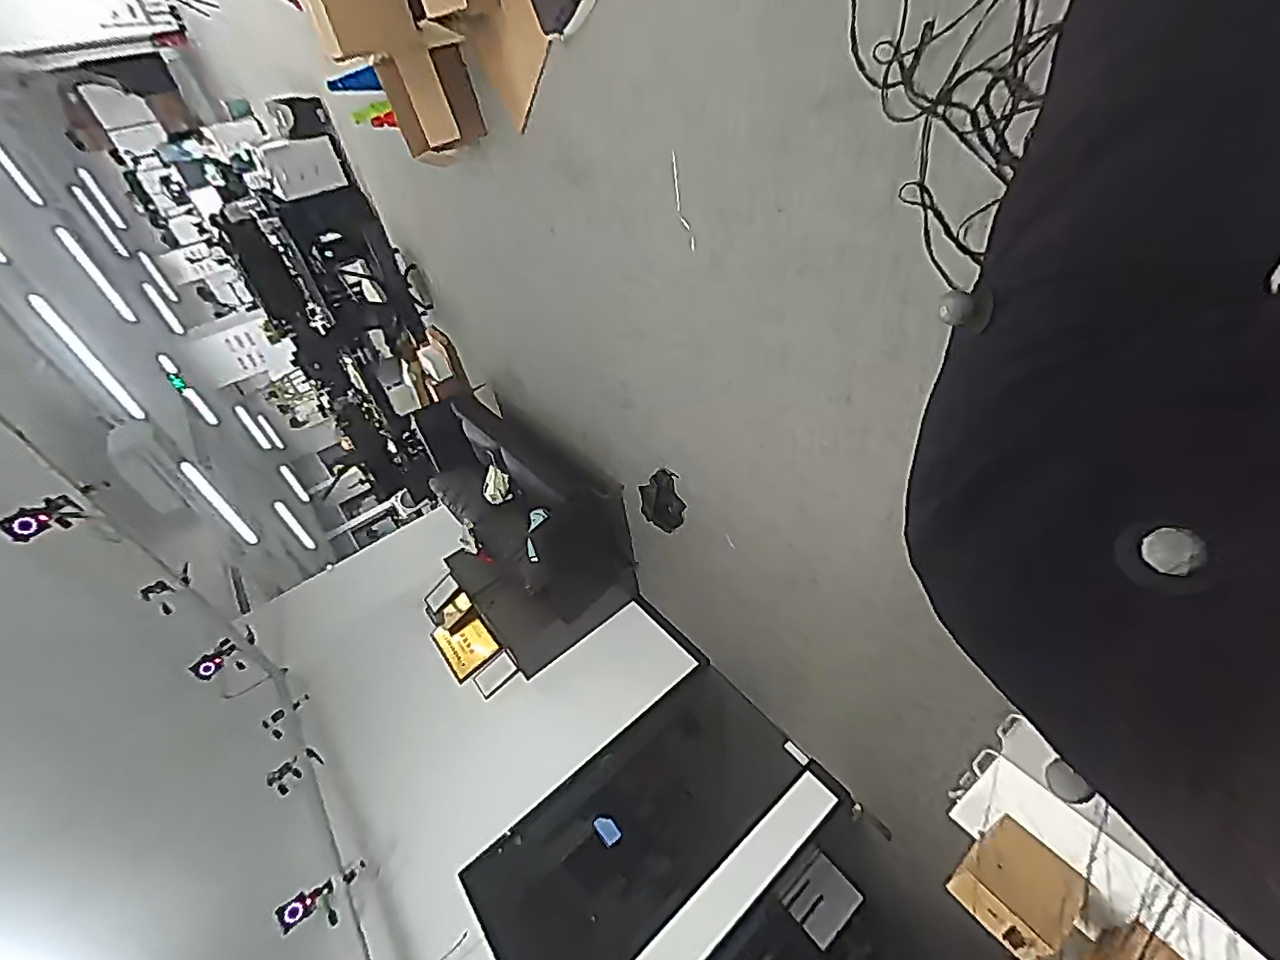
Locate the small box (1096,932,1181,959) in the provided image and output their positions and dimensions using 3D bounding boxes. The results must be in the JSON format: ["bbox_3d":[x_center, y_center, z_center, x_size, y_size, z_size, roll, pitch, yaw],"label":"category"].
[{"bbox_3d":[0.963,1.001,1.011,0.168,0.176,0.179,39,149,39],"label":"small box"}]
